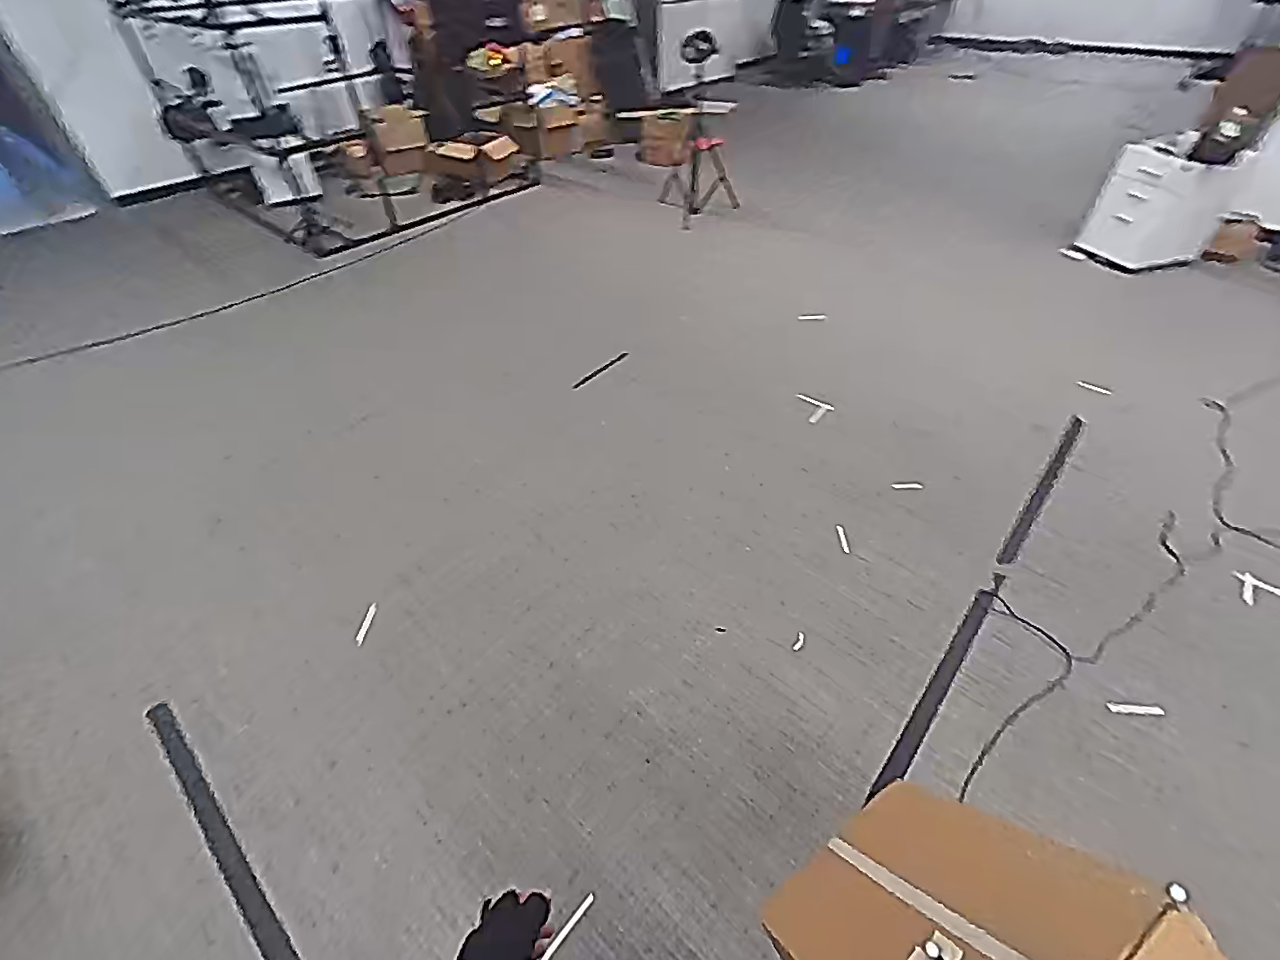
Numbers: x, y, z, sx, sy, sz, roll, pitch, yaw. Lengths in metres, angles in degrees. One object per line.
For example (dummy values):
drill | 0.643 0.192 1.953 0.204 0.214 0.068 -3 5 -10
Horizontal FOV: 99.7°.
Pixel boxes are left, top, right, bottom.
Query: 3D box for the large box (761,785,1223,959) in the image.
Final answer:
large box | 0.423 0.646 0.638 0.320 0.408 0.320 -29 85 -19
